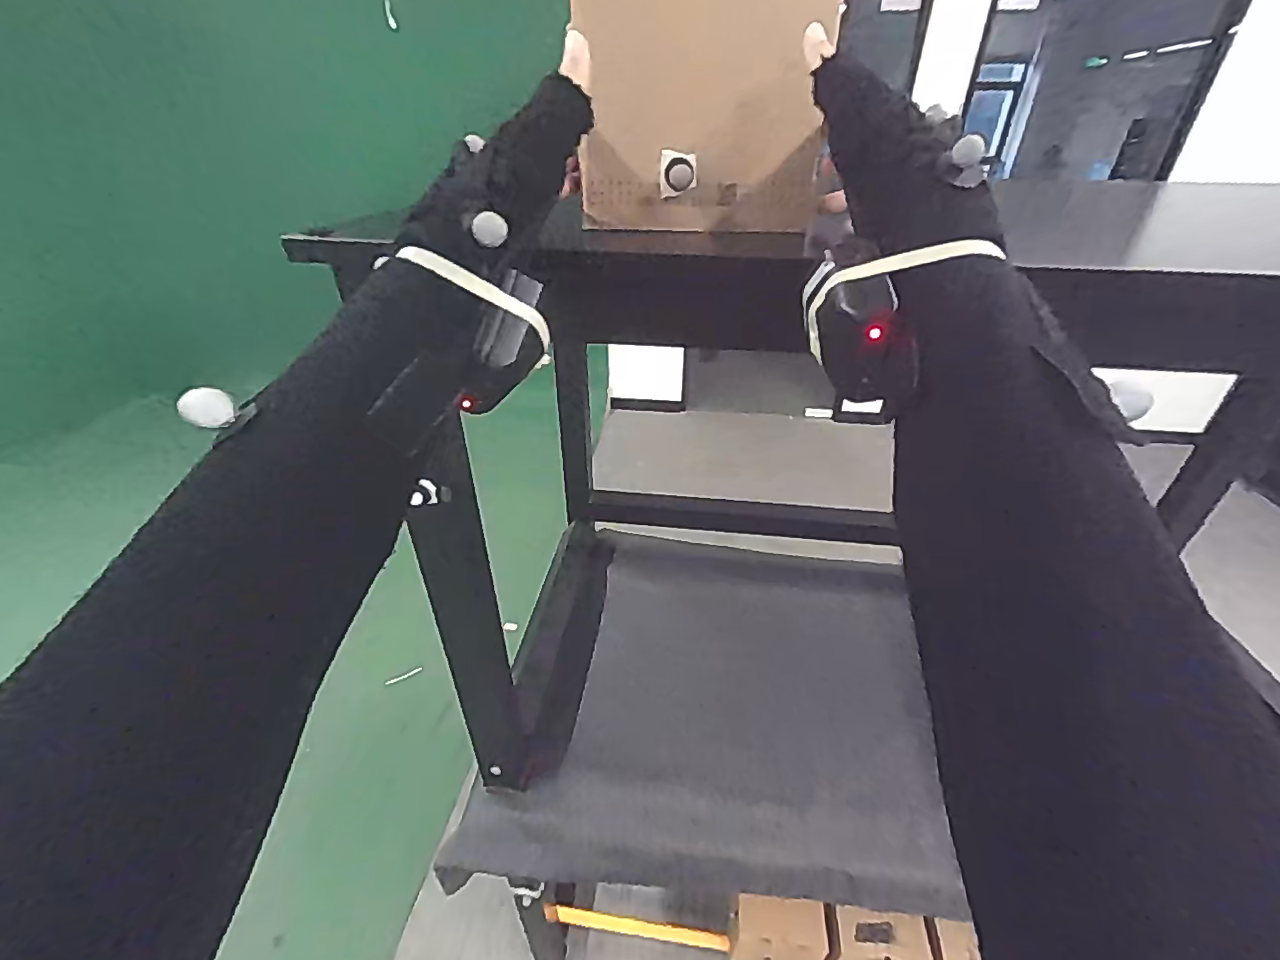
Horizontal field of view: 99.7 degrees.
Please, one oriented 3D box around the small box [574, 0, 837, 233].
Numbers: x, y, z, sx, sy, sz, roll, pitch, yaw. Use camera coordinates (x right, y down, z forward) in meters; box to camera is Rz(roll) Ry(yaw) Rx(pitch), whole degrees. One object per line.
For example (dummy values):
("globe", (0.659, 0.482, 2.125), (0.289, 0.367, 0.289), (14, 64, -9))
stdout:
("small box", (0.040, -0.300, 0.423), (0.168, 0.176, 0.179), (0, 34, 1))
